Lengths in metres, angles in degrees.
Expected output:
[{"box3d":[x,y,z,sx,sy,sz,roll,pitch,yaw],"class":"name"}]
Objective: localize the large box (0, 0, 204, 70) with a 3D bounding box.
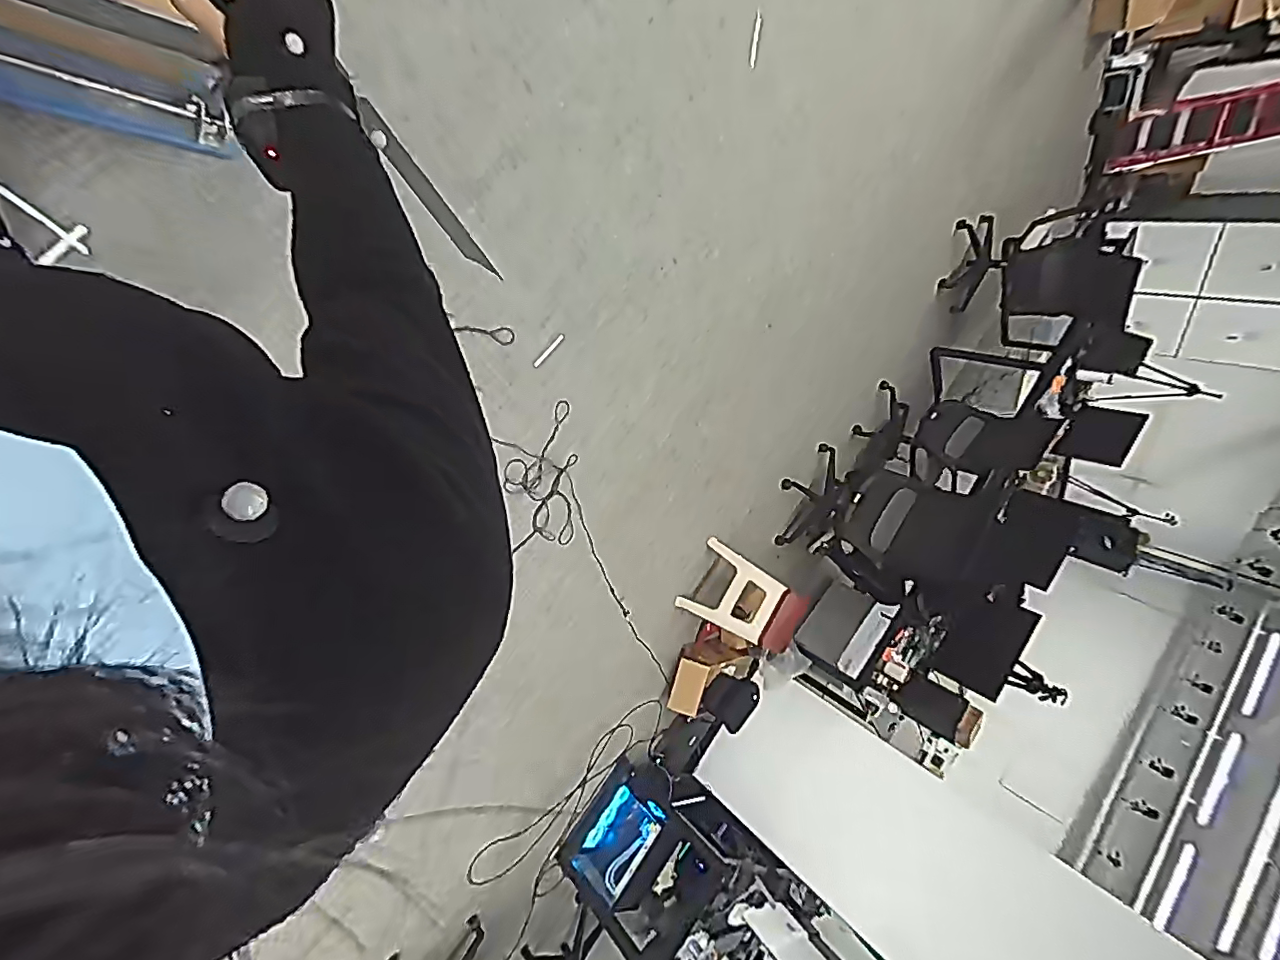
[{"box3d":[-0.776,-0.741,0.602,0.408,0.320,0.320,-7,114,-45],"class":"large box"}]
